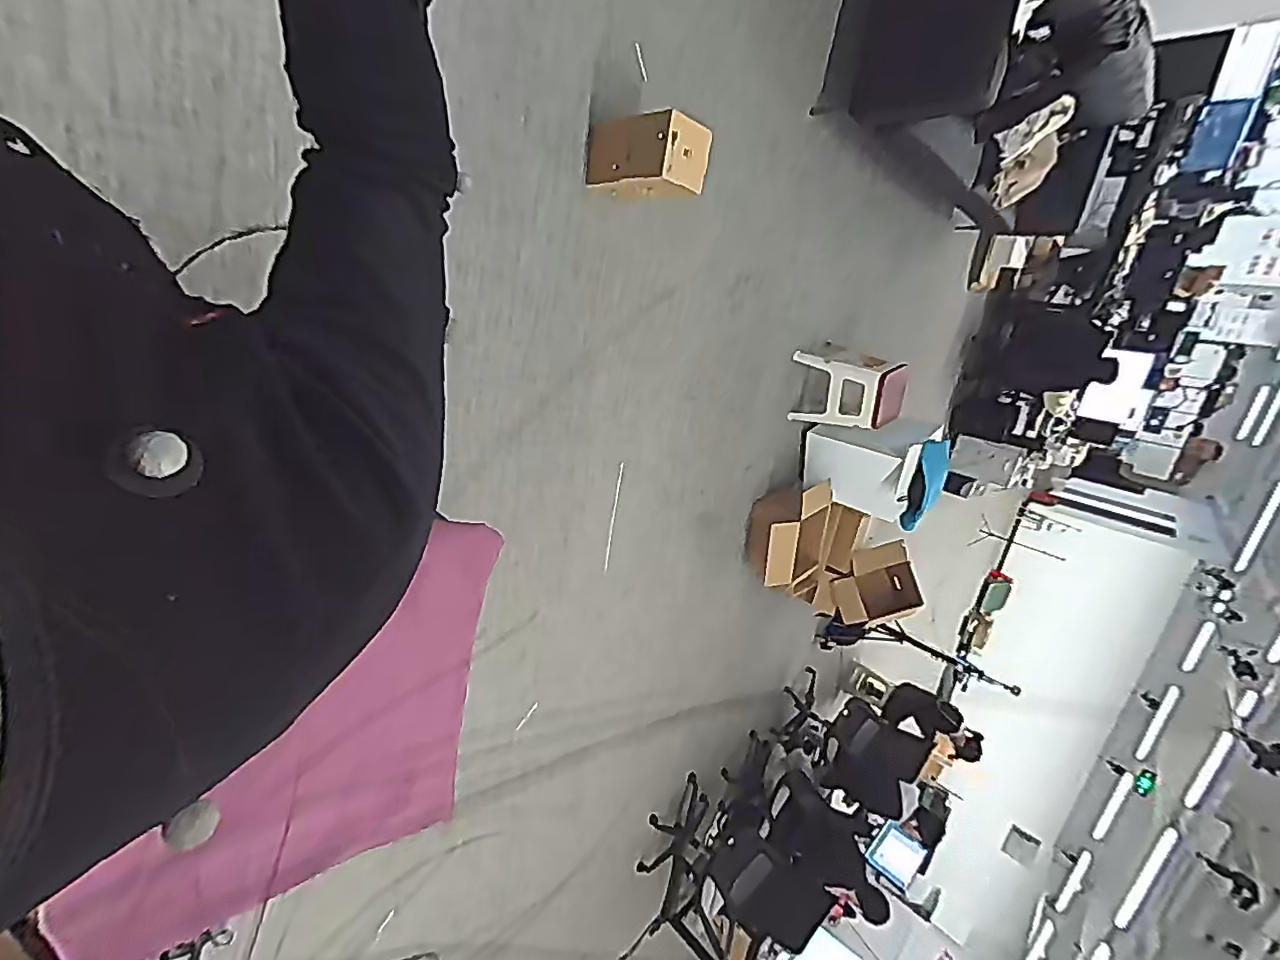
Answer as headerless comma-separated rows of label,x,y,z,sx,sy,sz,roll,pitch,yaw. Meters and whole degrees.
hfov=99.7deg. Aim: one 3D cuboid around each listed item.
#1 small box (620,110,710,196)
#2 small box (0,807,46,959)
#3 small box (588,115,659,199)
small box,0.071,-0.929,1.550,0.179,0.176,0.168,-7,113,-46
small box,-0.557,0.393,0.394,0.168,0.176,0.179,-2,109,-48
small box,-0.042,-0.980,1.657,0.168,0.176,0.179,-6,113,-45
